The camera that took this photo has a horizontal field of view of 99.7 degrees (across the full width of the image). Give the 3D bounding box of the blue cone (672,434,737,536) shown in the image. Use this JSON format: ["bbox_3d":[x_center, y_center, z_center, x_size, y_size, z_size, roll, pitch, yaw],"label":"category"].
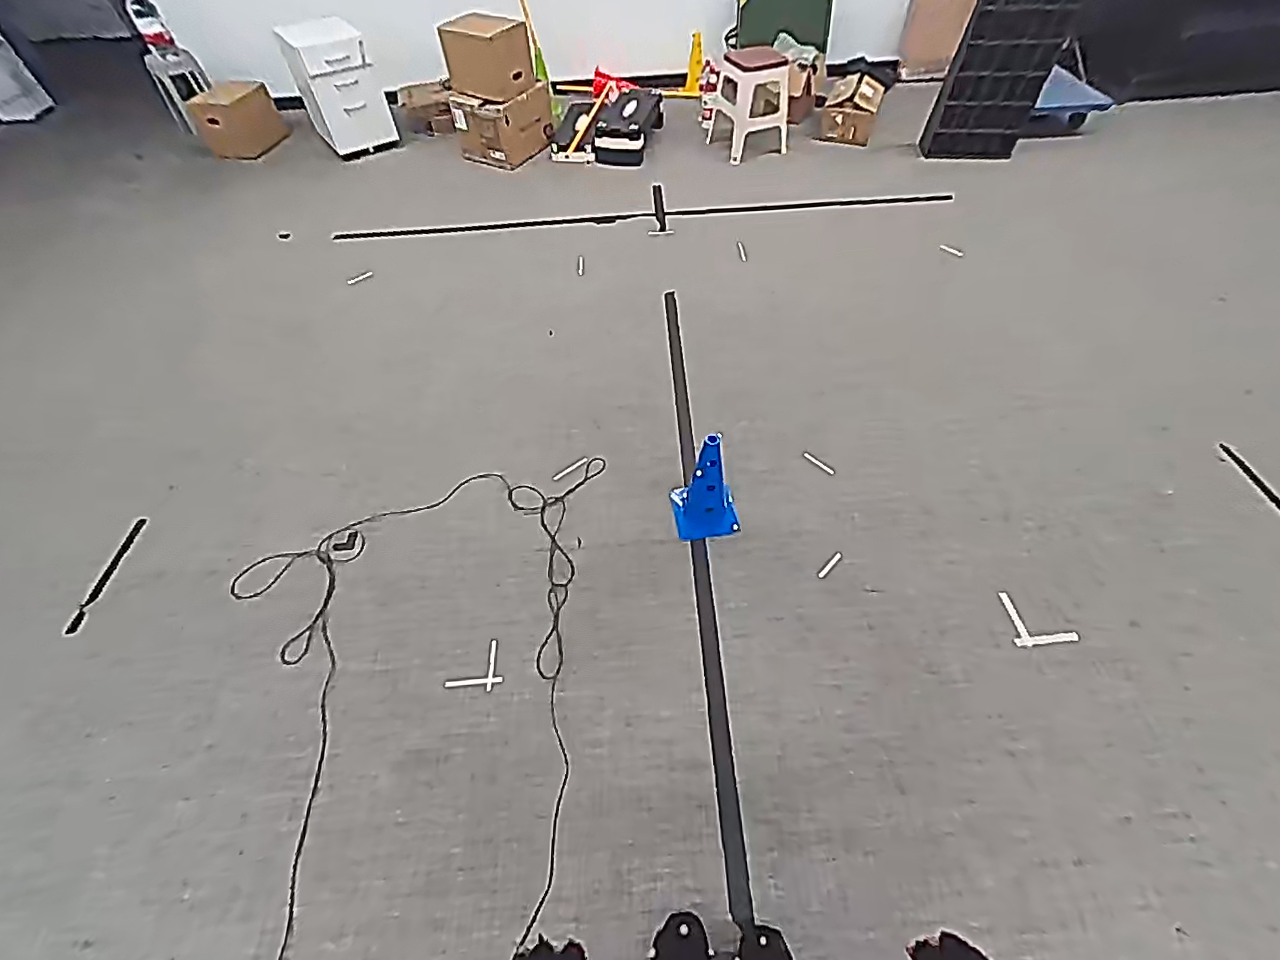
[{"bbox_3d":[0.205,-0.001,1.632,0.192,0.380,0.193,-5,53,-3],"label":"blue cone"}]
